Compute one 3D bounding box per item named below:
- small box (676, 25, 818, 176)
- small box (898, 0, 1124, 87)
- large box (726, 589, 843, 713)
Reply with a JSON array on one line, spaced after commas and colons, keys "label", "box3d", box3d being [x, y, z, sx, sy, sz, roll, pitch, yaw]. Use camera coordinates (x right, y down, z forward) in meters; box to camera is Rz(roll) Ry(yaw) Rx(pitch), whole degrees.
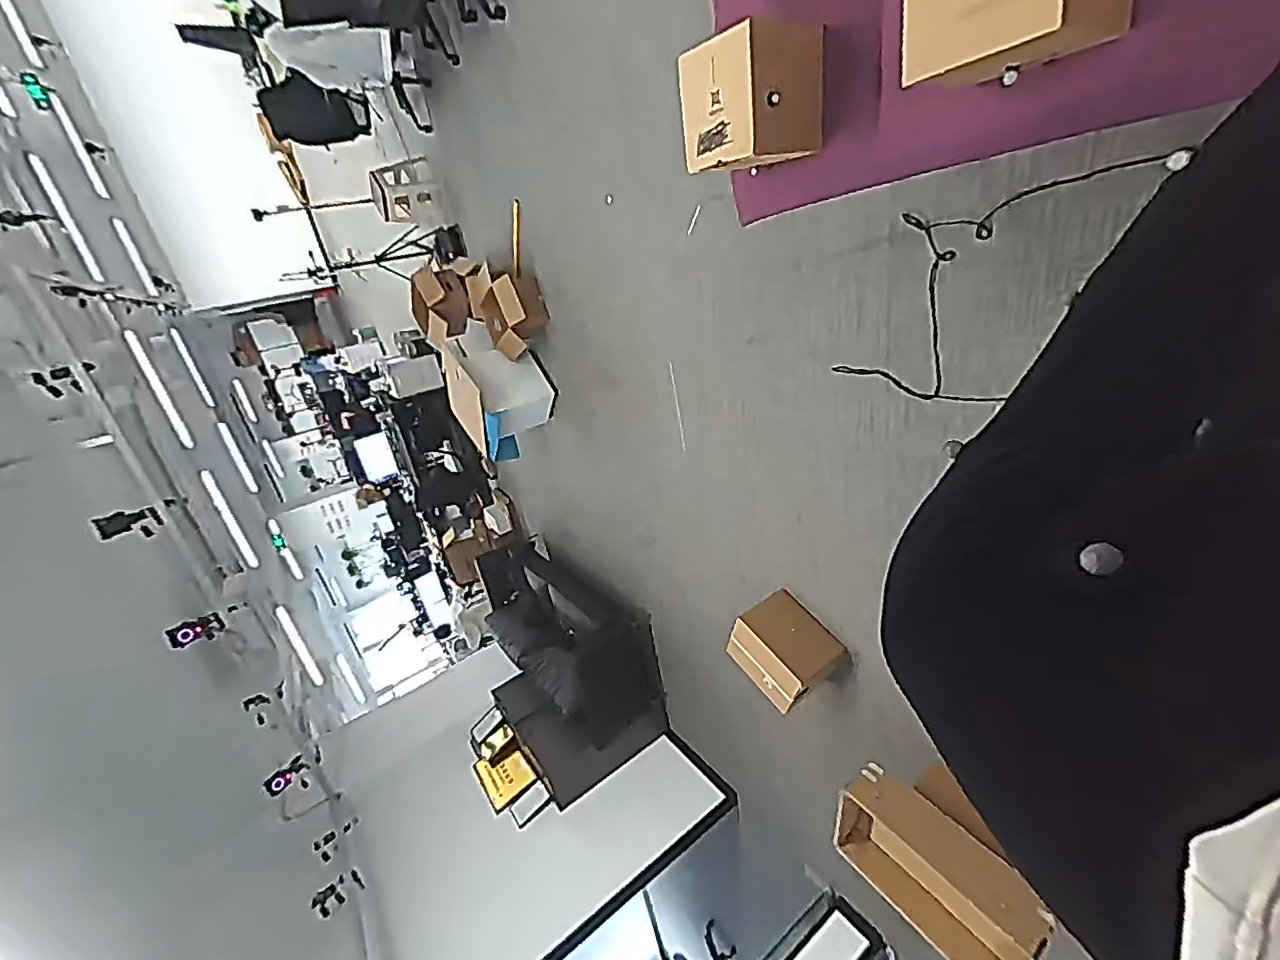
[{"label": "small box", "box3d": [0.184, -0.633, 0.916, 0.168, 0.176, 0.179, 24, 130, 50]}, {"label": "small box", "box3d": [0.411, -0.560, 0.596, 0.168, 0.176, 0.179, 23, 130, 52]}, {"label": "large box", "box3d": [0.681, 0.807, 2.594, 0.408, 0.320, 0.320, 43, 145, 34]}]
